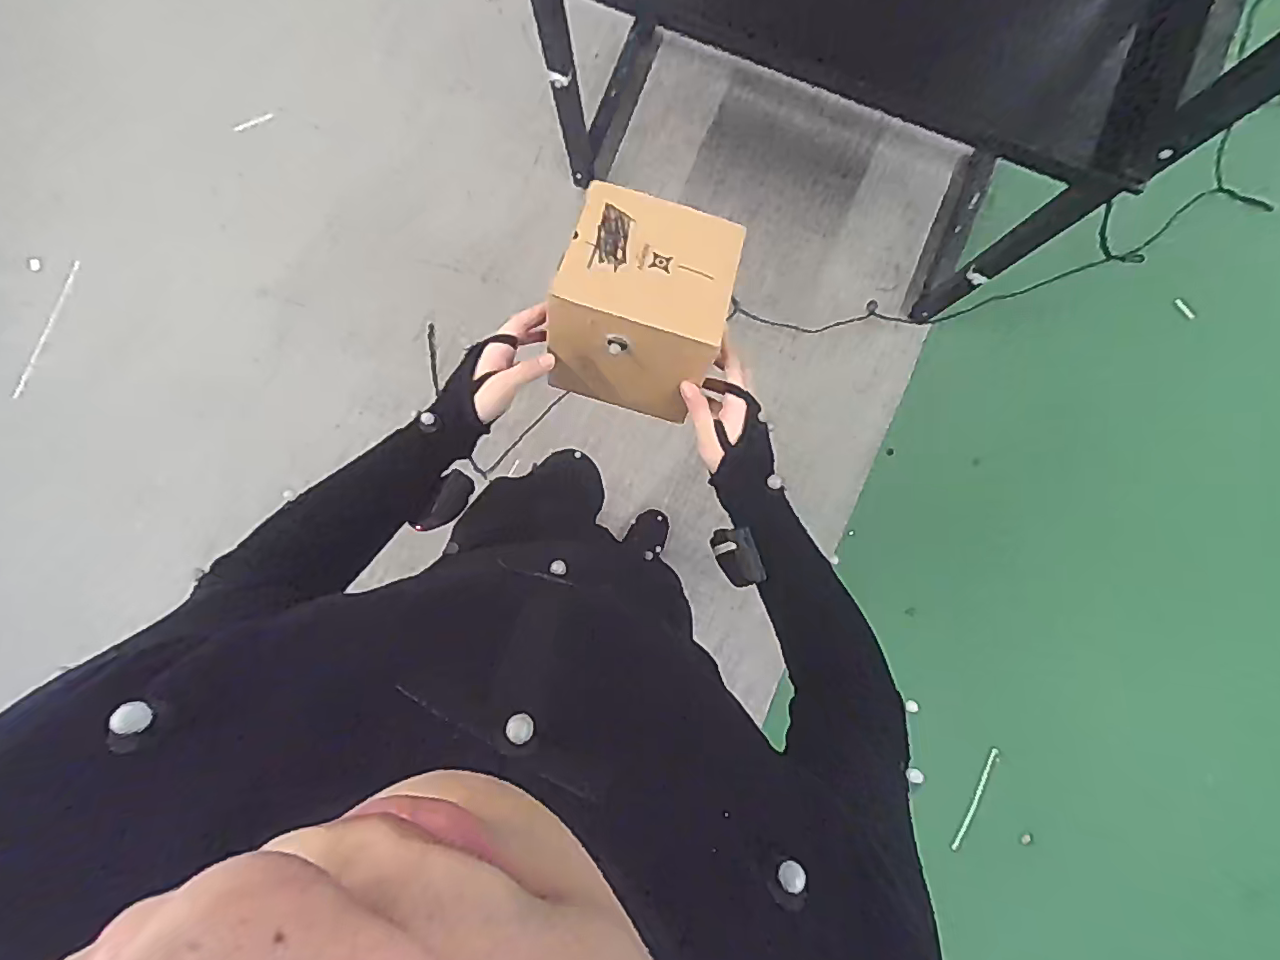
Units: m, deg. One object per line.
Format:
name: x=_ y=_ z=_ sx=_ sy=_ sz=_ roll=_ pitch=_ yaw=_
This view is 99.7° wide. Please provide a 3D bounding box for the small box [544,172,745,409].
small box: x=0.000 y=-0.203 z=0.617 sx=0.179 sy=0.176 sz=0.168 roll=16 pitch=67 yaw=-2
